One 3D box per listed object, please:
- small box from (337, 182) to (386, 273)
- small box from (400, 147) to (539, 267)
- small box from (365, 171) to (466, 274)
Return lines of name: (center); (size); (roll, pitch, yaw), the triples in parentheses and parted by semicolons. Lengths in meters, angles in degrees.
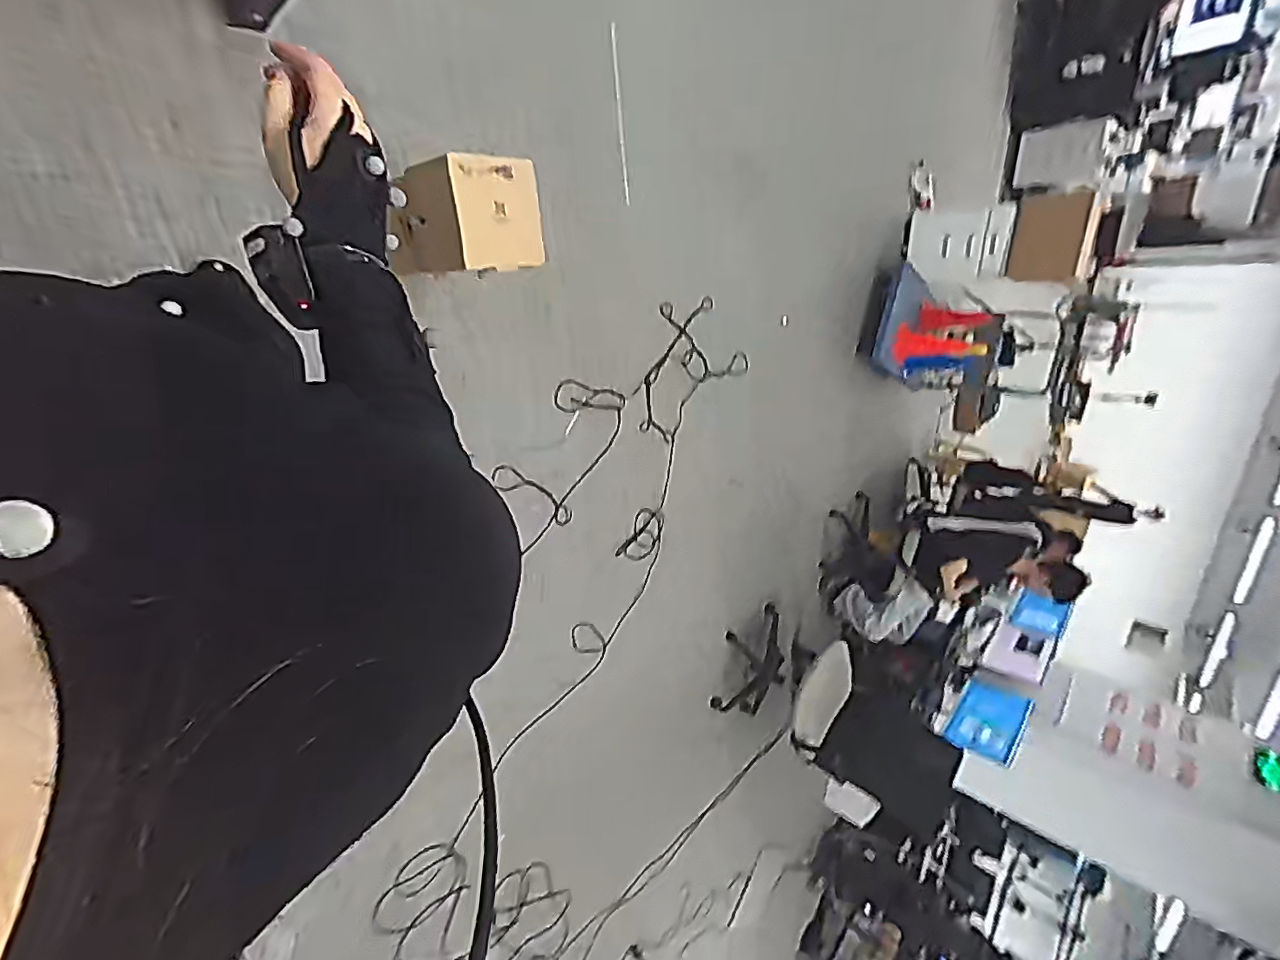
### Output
small box: (-0.535, -0.551, 1.197); (0.179, 0.176, 0.168); (-23, 118, -42)
small box: (-0.305, -0.480, 0.975); (0.168, 0.176, 0.179); (-24, 120, -41)
small box: (-0.425, -0.509, 1.083); (0.179, 0.176, 0.168); (-26, 121, -41)
